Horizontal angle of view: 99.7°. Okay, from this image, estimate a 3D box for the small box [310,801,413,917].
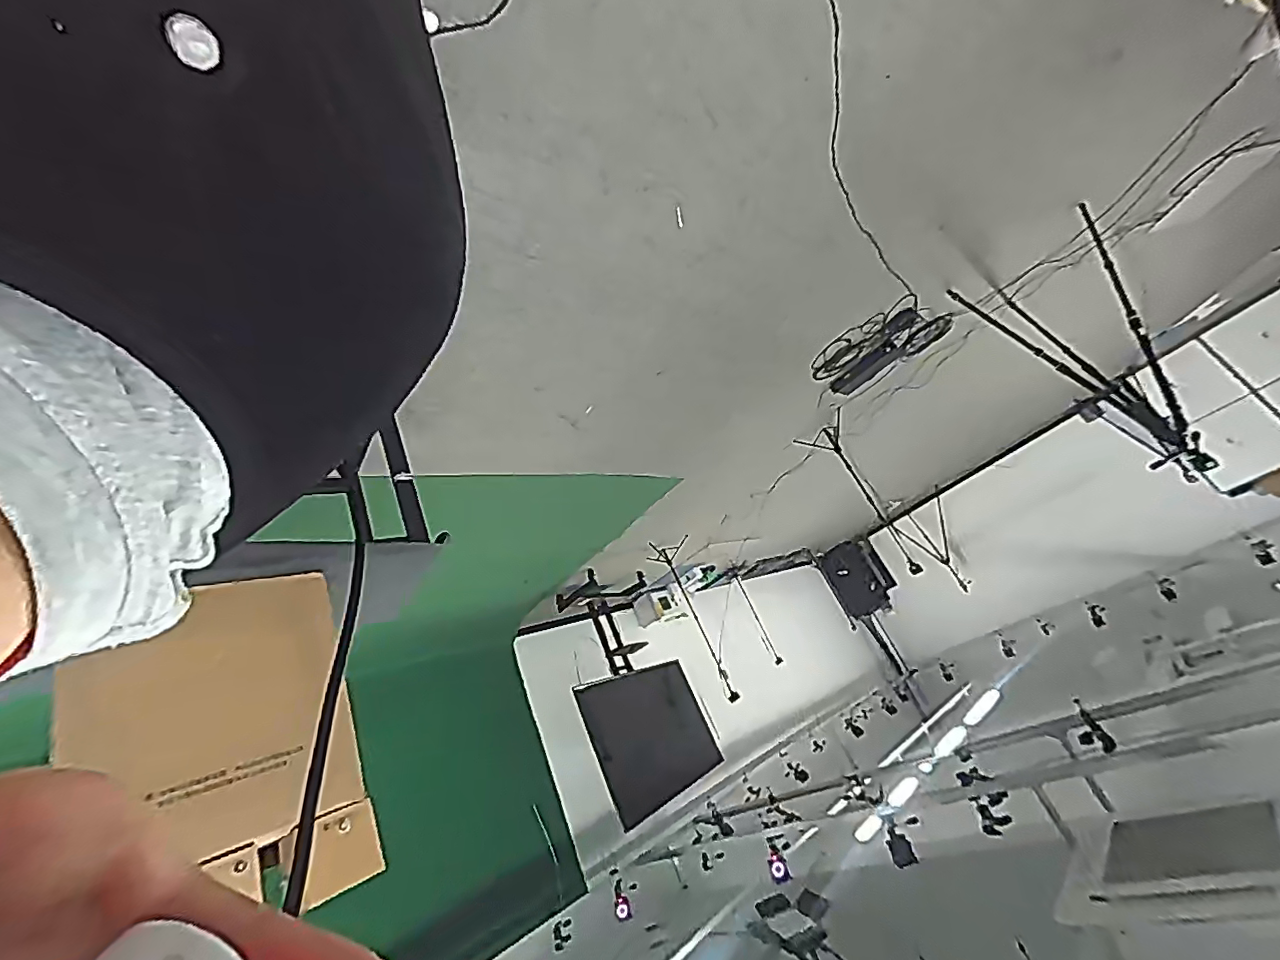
[{"bbox_3d":[-0.686,0.918,1.321,0.168,0.176,0.179,-5,147,-47],"label":"small box"}]

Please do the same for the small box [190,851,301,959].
[{"bbox_3d":[-0.849,0.929,1.156,0.168,0.176,0.179,-2,147,-44],"label":"small box"}]
